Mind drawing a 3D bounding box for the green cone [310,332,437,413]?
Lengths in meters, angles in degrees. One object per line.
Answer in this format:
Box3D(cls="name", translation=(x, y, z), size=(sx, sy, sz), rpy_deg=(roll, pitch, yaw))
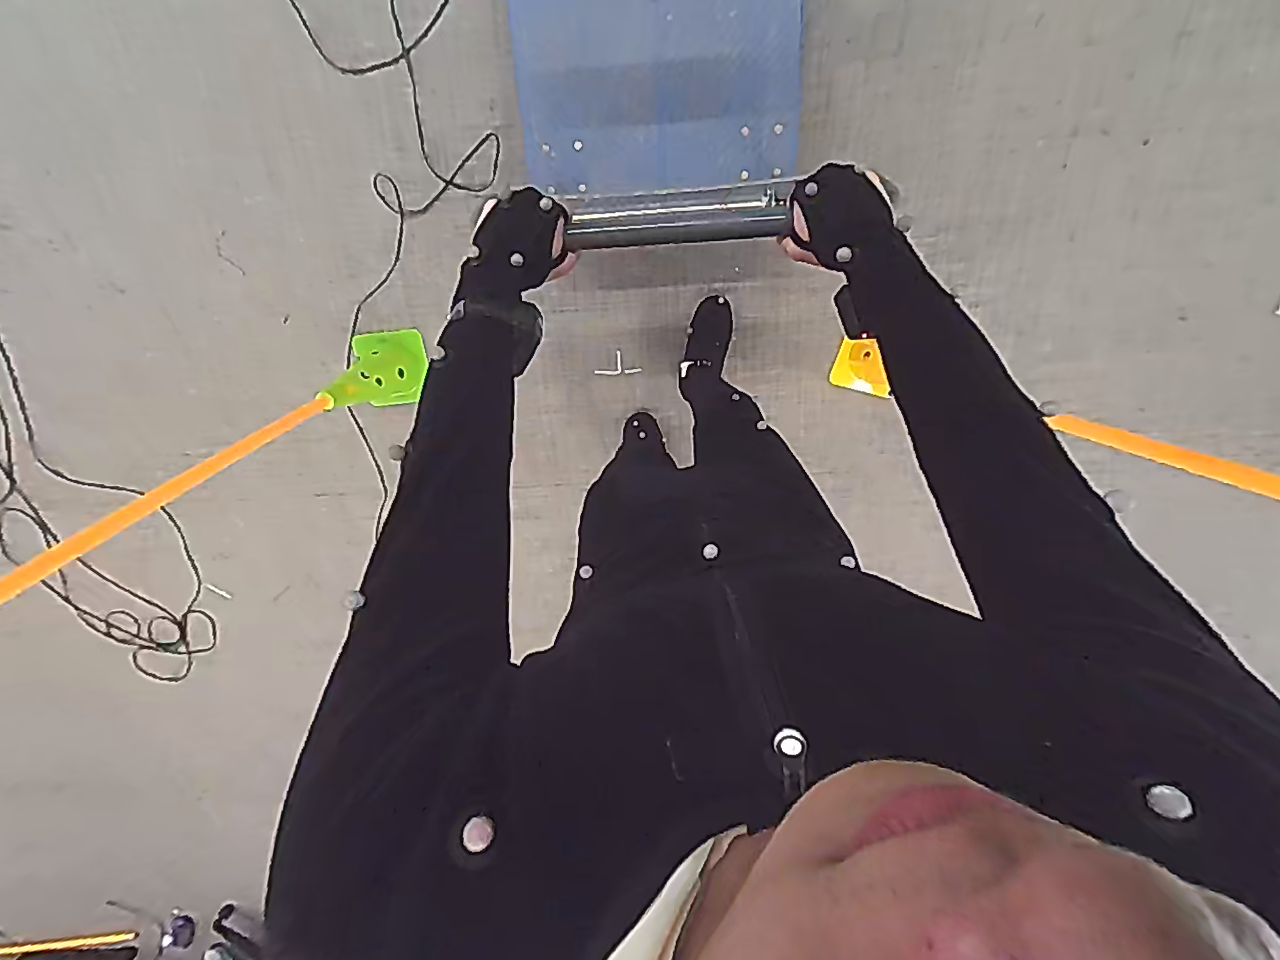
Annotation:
Box3D(cls="green cone", translation=(-0.695, -0.241, 1.357), size=(0.202, 0.368, 0.200), rpy_deg=(-5, 112, 6))
